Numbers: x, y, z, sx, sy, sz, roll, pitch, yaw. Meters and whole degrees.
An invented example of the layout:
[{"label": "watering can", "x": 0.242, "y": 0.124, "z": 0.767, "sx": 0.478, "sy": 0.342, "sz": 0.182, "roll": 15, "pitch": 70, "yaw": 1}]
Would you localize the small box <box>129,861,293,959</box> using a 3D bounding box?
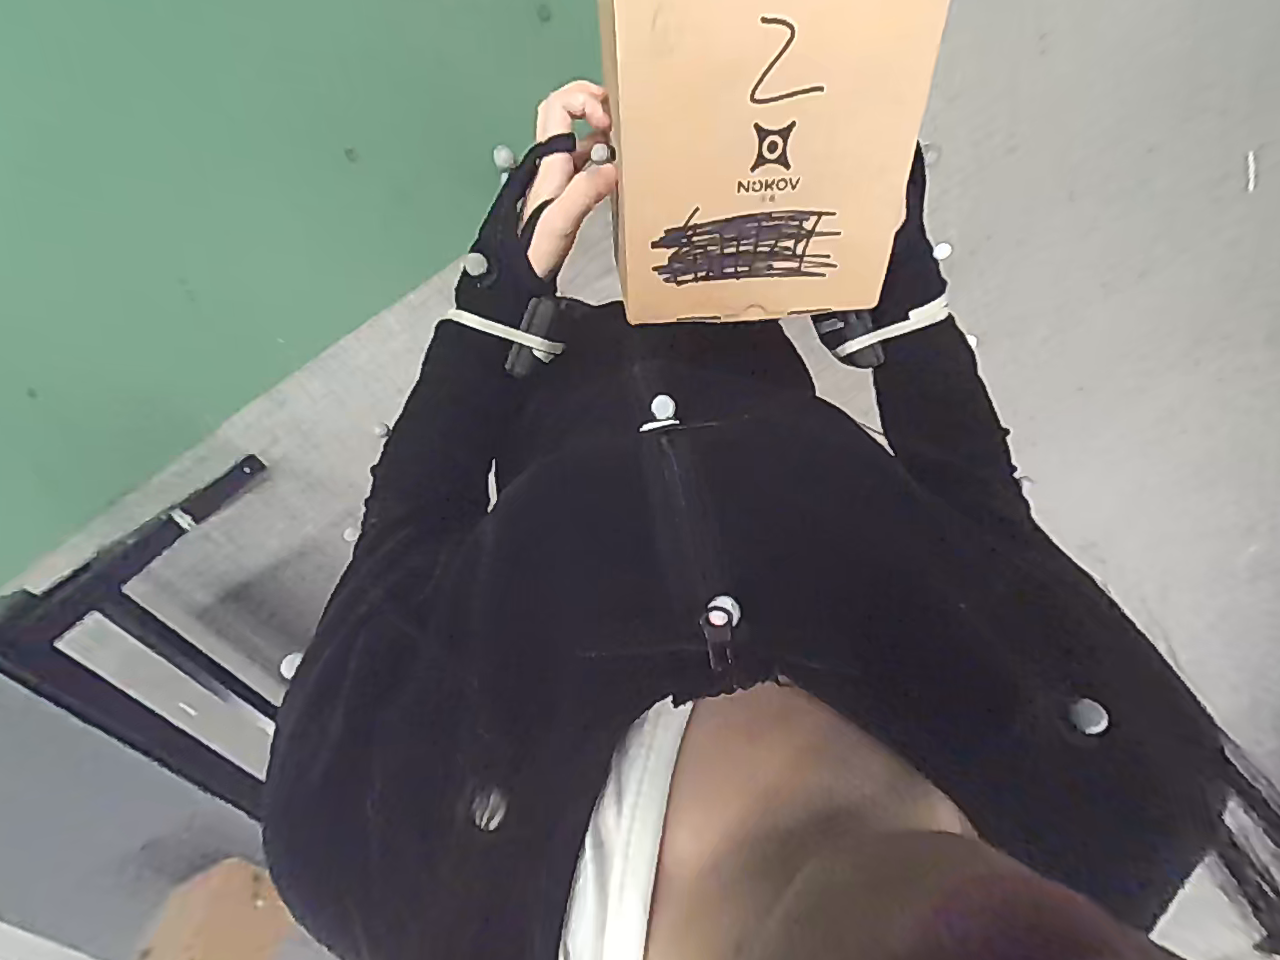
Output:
[{"label": "small box", "x": -0.799, "y": 0.857, "z": 1.003, "sx": 0.179, "sy": 0.176, "sz": 0.168, "roll": -31, "pitch": 117, "yaw": 9}]
